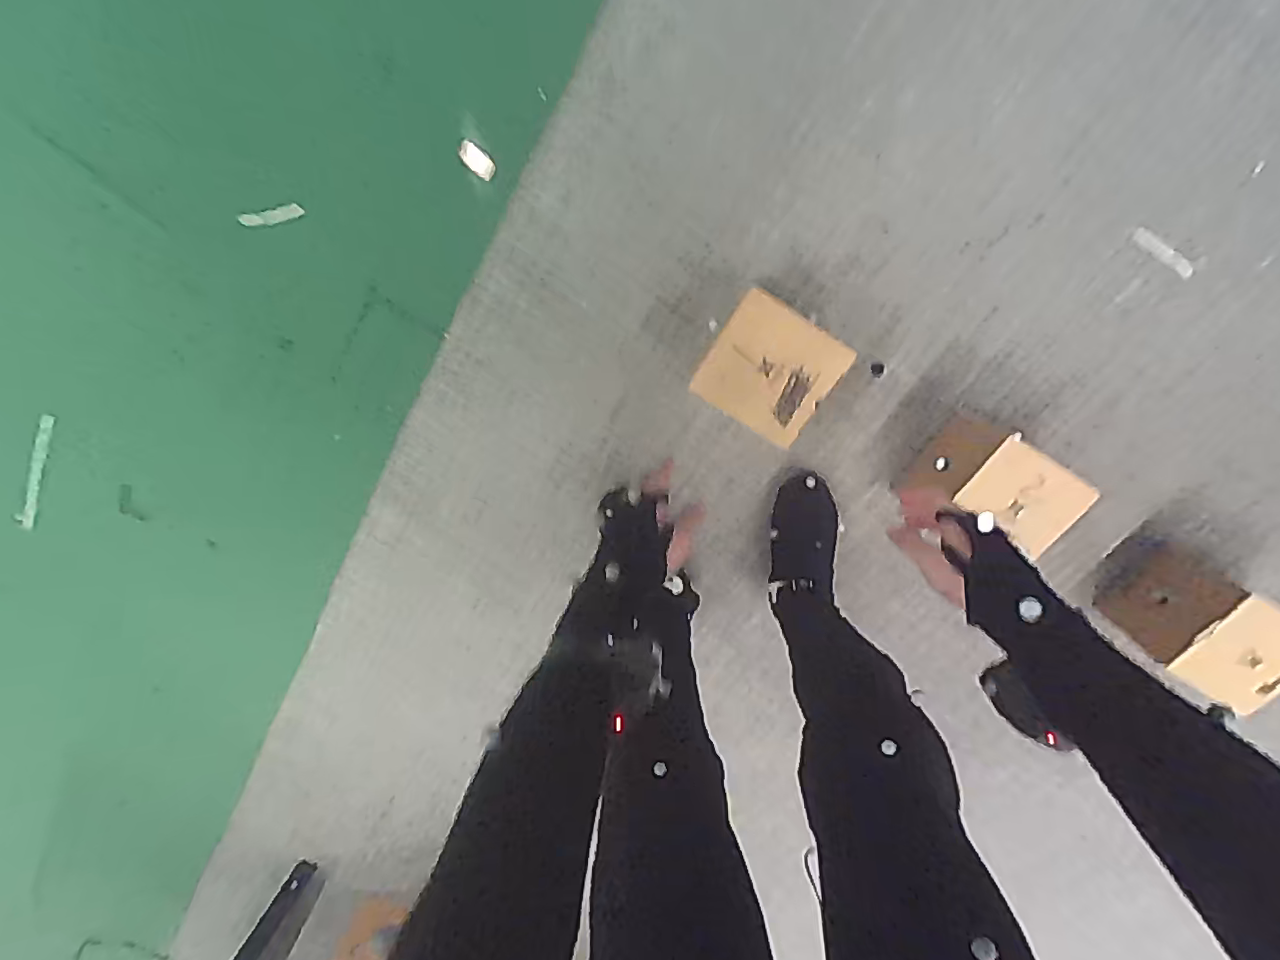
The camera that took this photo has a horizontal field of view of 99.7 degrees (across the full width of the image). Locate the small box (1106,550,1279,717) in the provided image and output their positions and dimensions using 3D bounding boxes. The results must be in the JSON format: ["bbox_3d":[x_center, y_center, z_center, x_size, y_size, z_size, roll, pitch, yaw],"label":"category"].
[{"bbox_3d":[0.938,0.238,0.885,0.179,0.176,0.168,31,110,-5],"label":"small box"}]

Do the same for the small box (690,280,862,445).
[{"bbox_3d":[0.194,-0.183,0.816,0.179,0.176,0.168,32,110,-4],"label":"small box"}]
